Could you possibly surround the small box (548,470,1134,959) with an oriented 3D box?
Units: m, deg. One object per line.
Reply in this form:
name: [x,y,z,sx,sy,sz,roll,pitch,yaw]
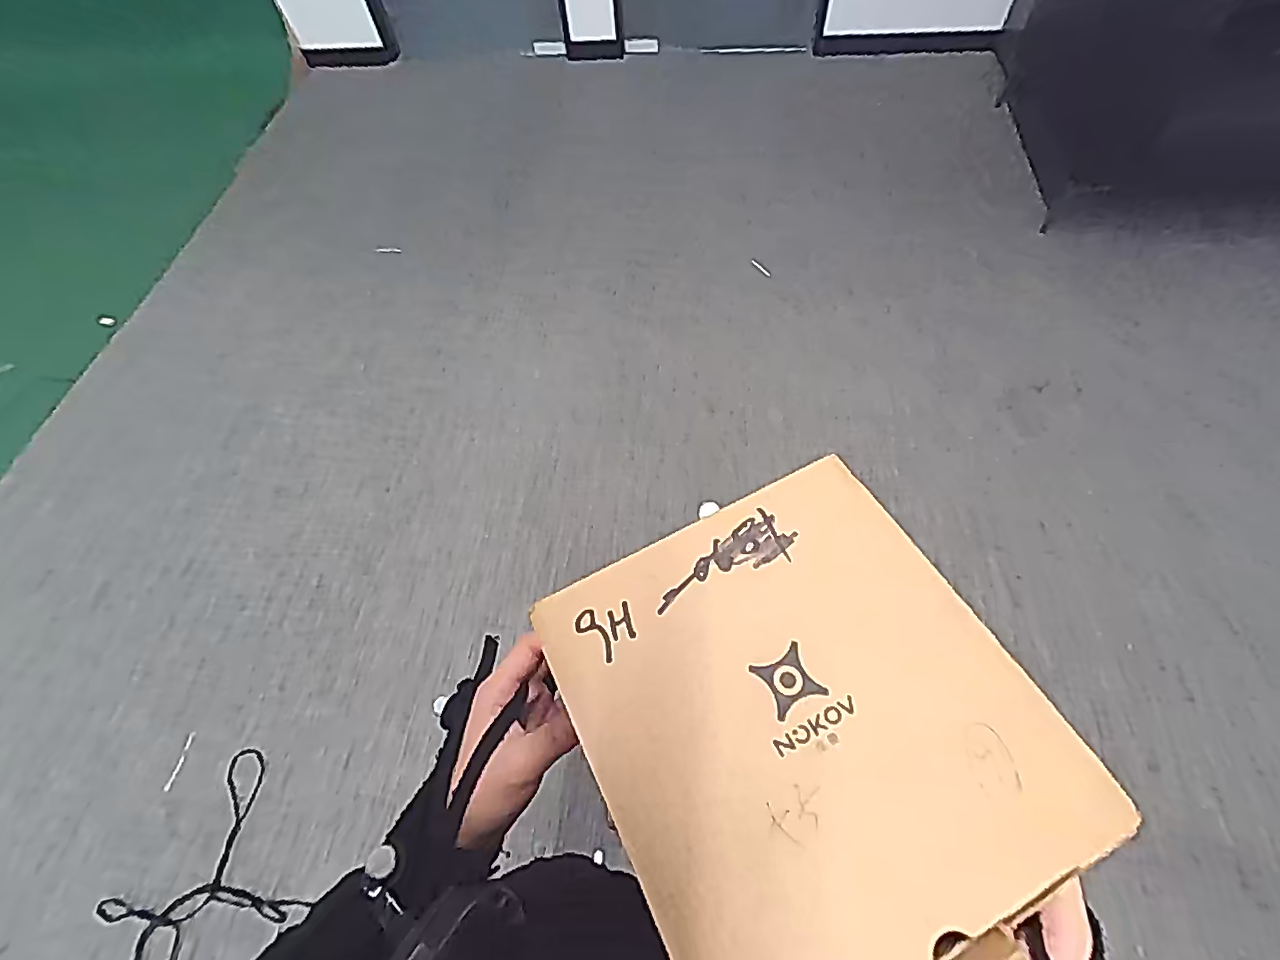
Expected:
small box: [0.071,0.130,0.285,0.168,0.176,0.179,-23,62,-9]
